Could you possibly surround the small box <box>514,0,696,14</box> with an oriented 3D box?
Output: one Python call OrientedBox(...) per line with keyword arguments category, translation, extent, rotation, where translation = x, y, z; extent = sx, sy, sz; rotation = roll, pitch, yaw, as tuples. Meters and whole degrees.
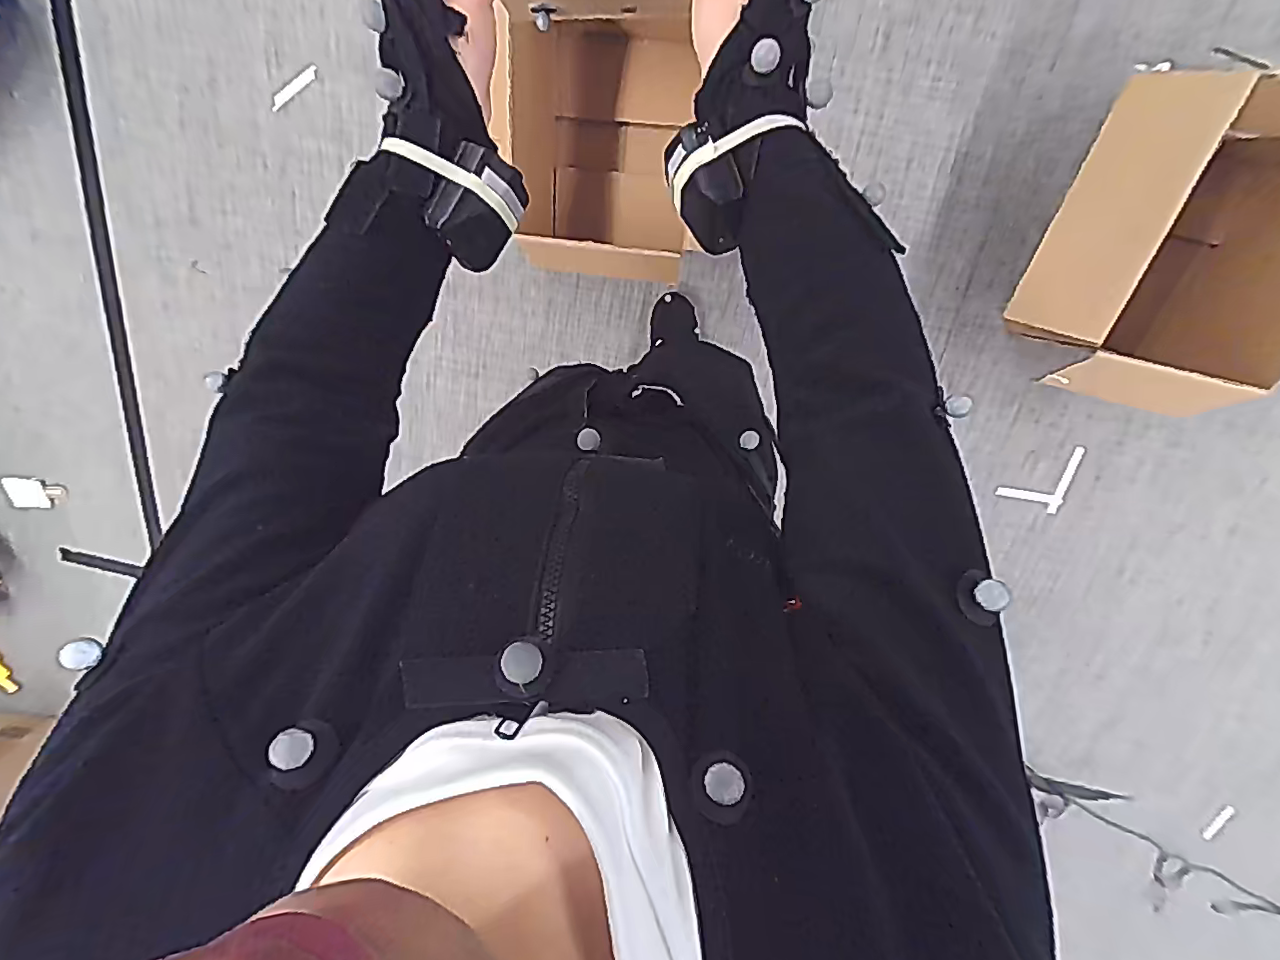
OrientedBox(category="small box", translation=(-0.032, -0.449, 0.367), extent=(0.168, 0.176, 0.179), rotation=(-2, 114, 0))
